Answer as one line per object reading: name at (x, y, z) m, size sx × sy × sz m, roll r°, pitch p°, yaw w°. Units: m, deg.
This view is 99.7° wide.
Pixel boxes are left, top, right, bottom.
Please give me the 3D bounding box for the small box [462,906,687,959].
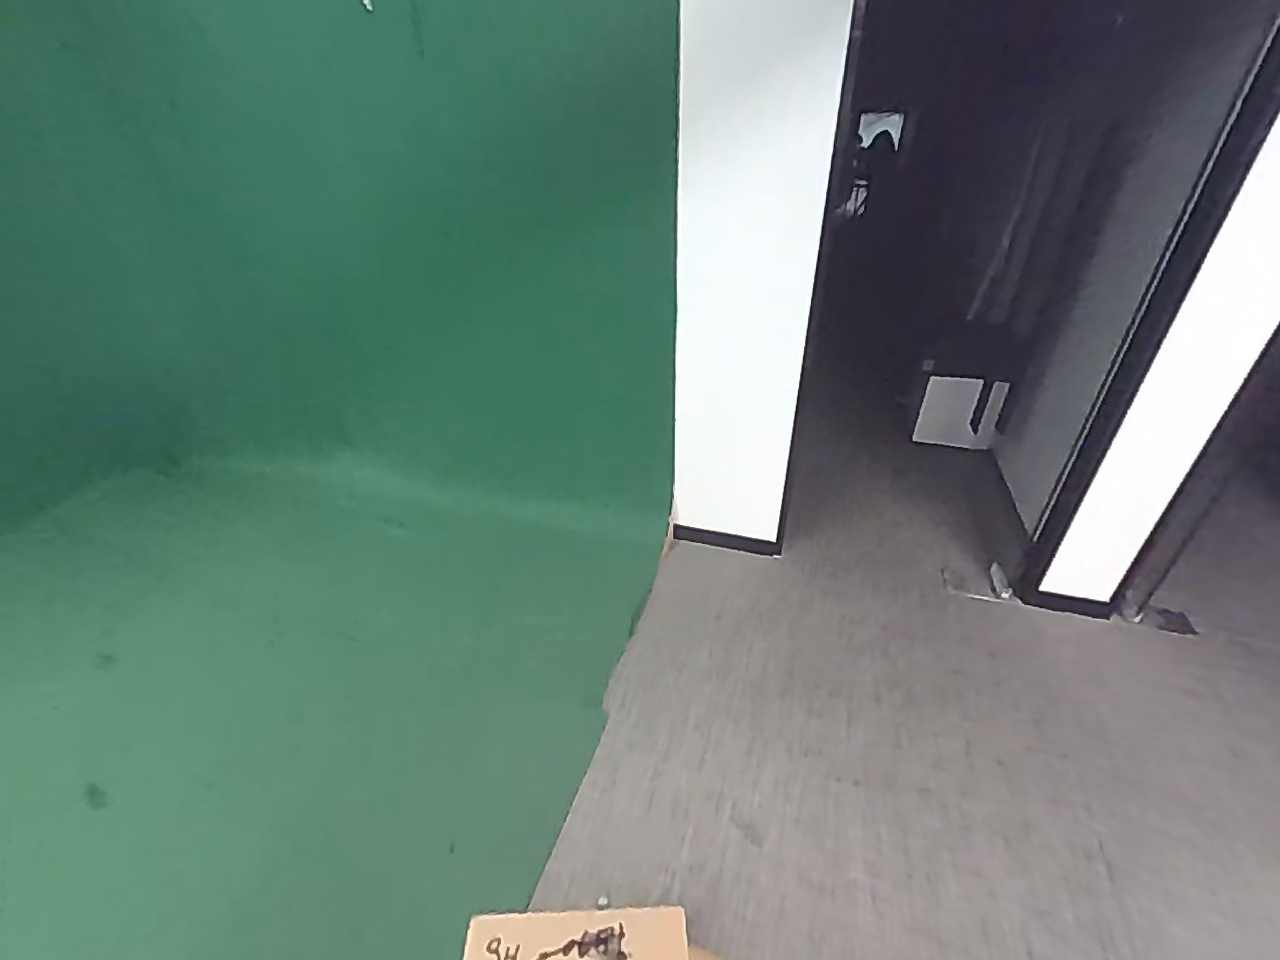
small box at (-0.044, 0.443, 0.401) m, size 0.168 × 0.176 × 0.179 m, roll -2°, pitch 42°, yaw -1°
